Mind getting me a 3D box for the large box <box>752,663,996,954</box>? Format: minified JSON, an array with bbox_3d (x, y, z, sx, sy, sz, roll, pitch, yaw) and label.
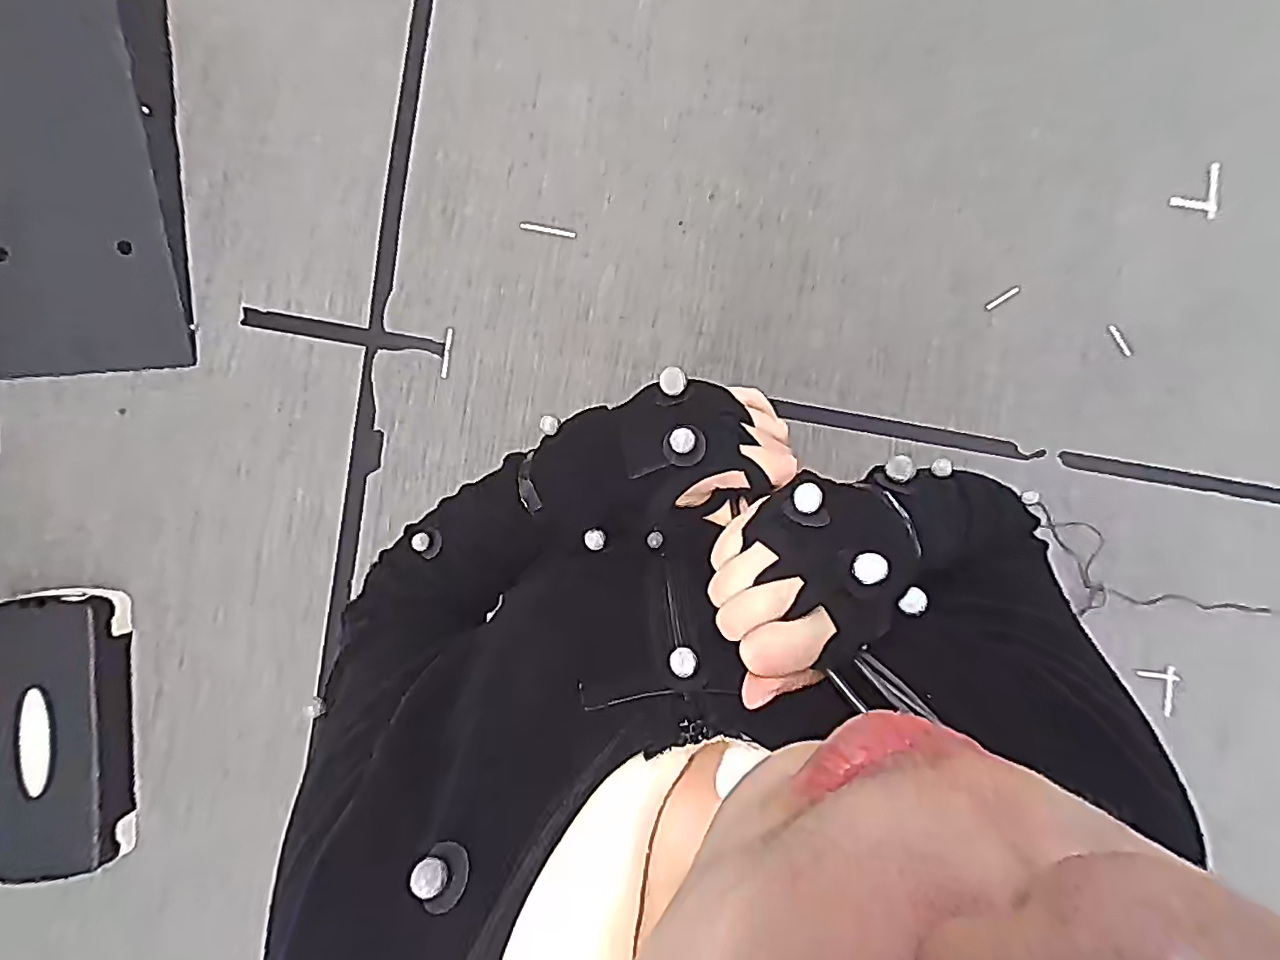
[{"bbox_3d":[0.491,0.690,1.206,0.320,0.320,0.408,-18,92,-5],"label":"large box"}]
